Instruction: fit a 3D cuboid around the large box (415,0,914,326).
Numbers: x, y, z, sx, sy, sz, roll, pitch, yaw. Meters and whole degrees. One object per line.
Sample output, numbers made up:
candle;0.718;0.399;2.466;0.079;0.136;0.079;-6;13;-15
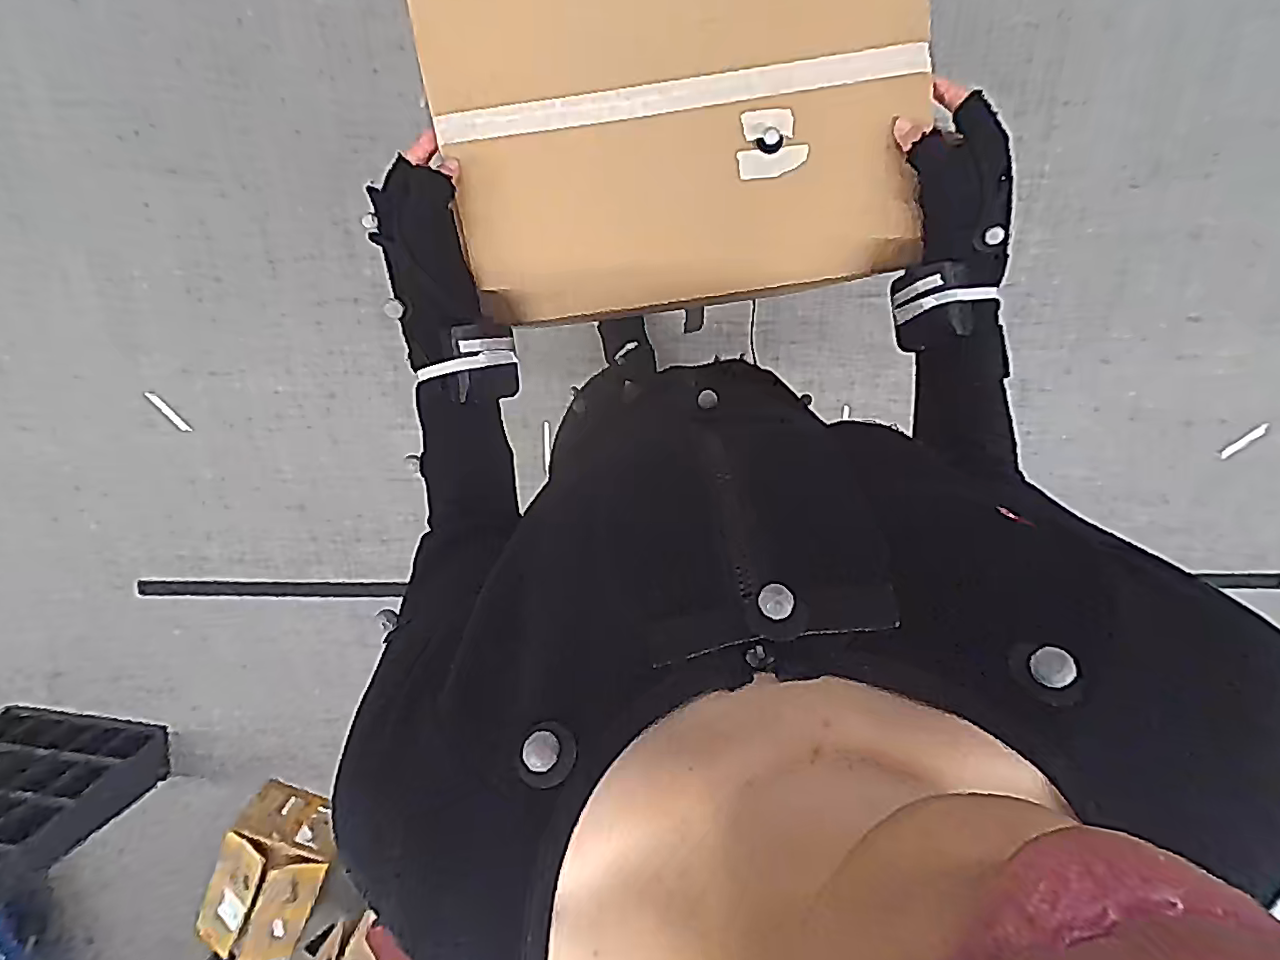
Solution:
large box;0.024;-0.360;0.596;0.408;0.320;0.320;-8;105;0
